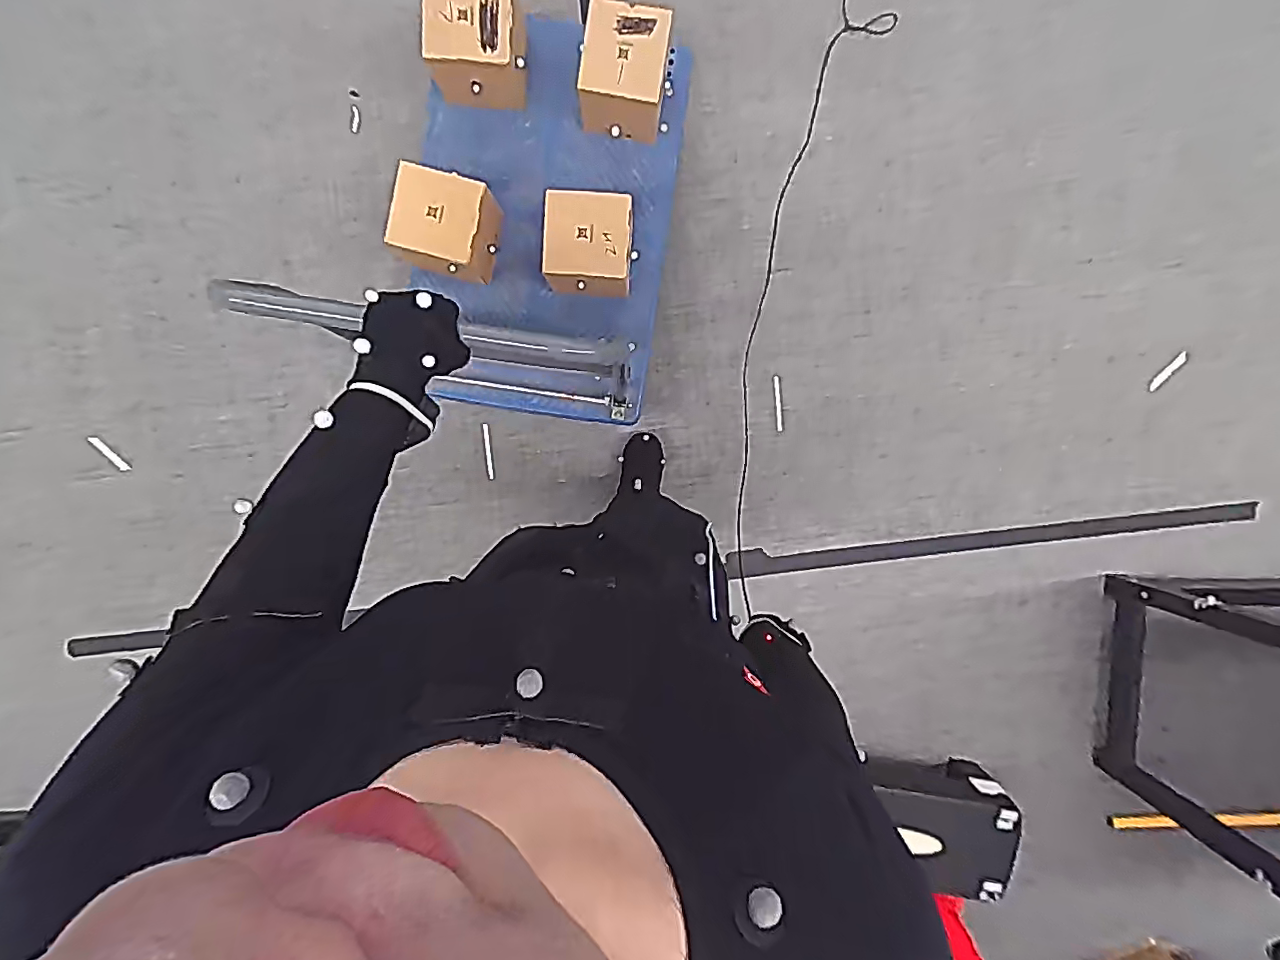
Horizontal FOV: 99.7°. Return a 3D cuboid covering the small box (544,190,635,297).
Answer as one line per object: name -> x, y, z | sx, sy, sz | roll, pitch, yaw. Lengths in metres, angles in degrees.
small box -> -0.103, -0.504, 1.172 | 0.179, 0.176, 0.168 | 4, 95, -1

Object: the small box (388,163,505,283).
small box -> -0.409, -0.543, 1.168 | 0.179, 0.176, 0.168 | 13, 95, -3

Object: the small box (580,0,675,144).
small box -> -0.026, -0.853, 1.140 | 0.168, 0.176, 0.179 | 10, 96, -1
